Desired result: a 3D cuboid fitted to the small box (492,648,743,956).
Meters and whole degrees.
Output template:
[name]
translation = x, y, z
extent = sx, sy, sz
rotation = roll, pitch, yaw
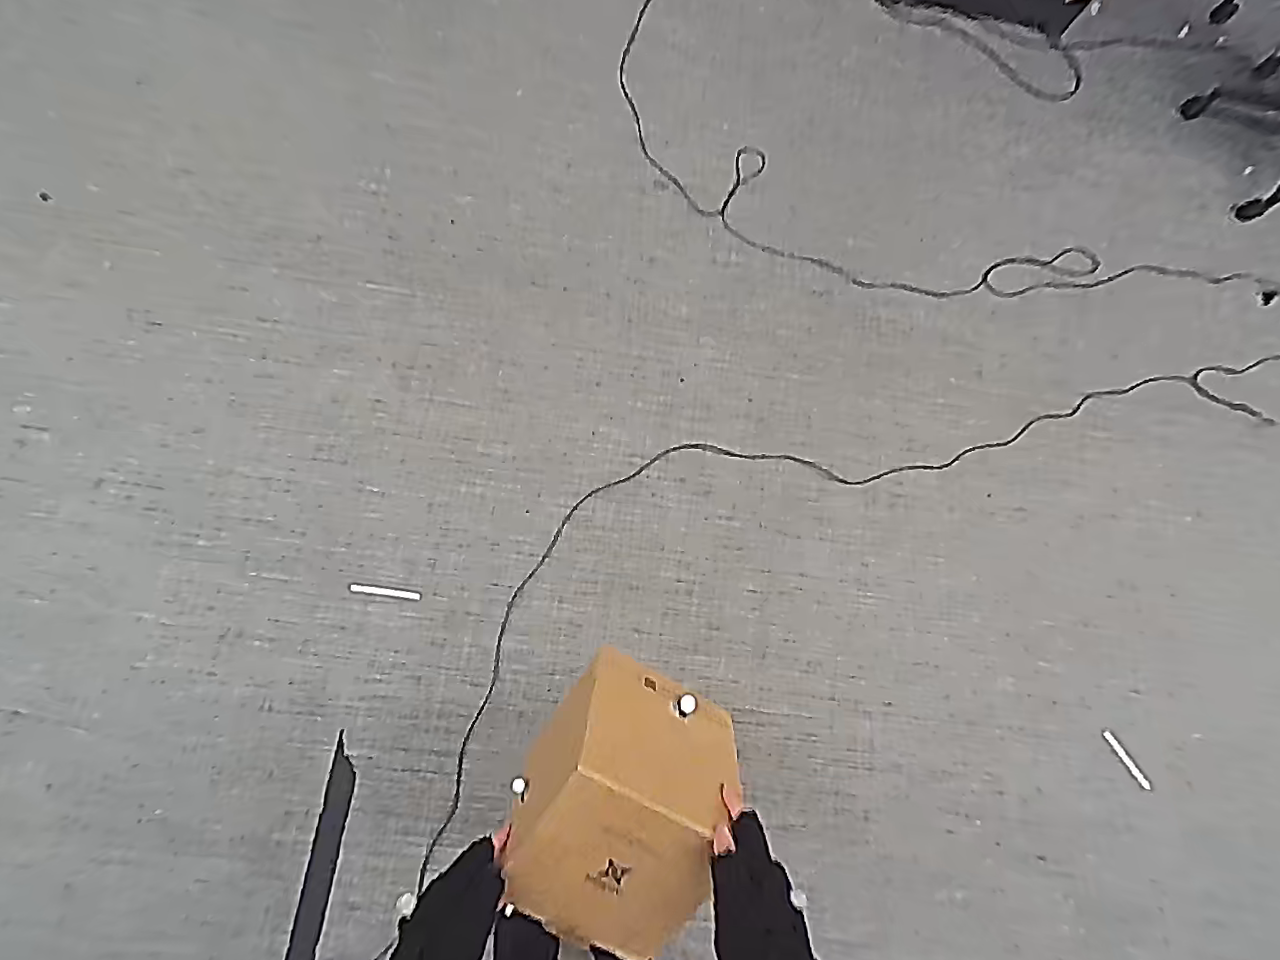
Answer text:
[small box]
translation = -0.018, 0.311, 0.547
extent = 0.168, 0.176, 0.179
rotation = 30, 107, -7
